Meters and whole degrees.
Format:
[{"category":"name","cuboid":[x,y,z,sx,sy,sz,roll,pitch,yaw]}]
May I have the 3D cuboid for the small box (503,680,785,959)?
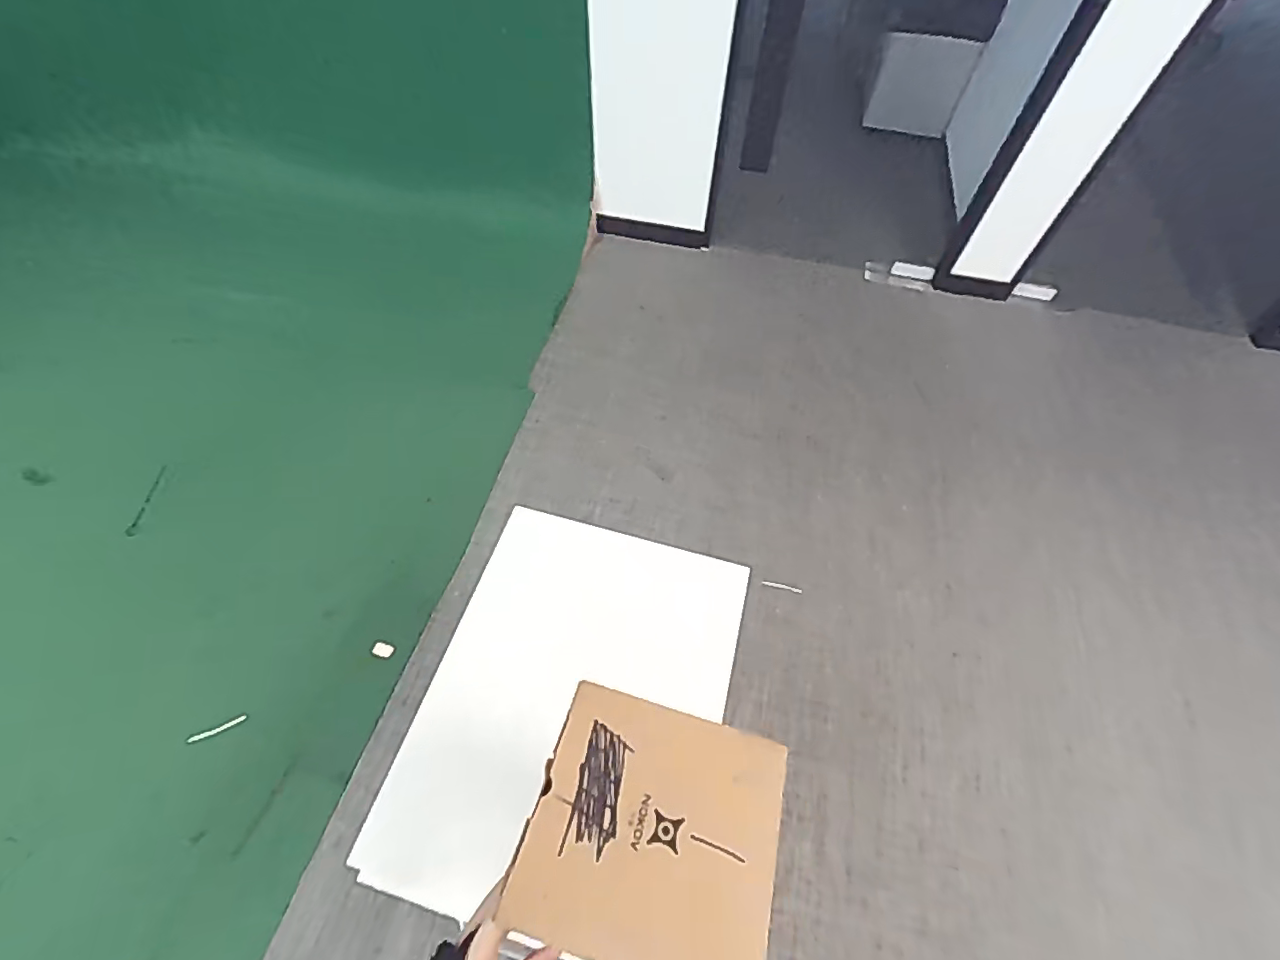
[{"category":"small box","cuboid":[0.007,0.302,0.458,0.179,0.176,0.168,16,50,7]}]
